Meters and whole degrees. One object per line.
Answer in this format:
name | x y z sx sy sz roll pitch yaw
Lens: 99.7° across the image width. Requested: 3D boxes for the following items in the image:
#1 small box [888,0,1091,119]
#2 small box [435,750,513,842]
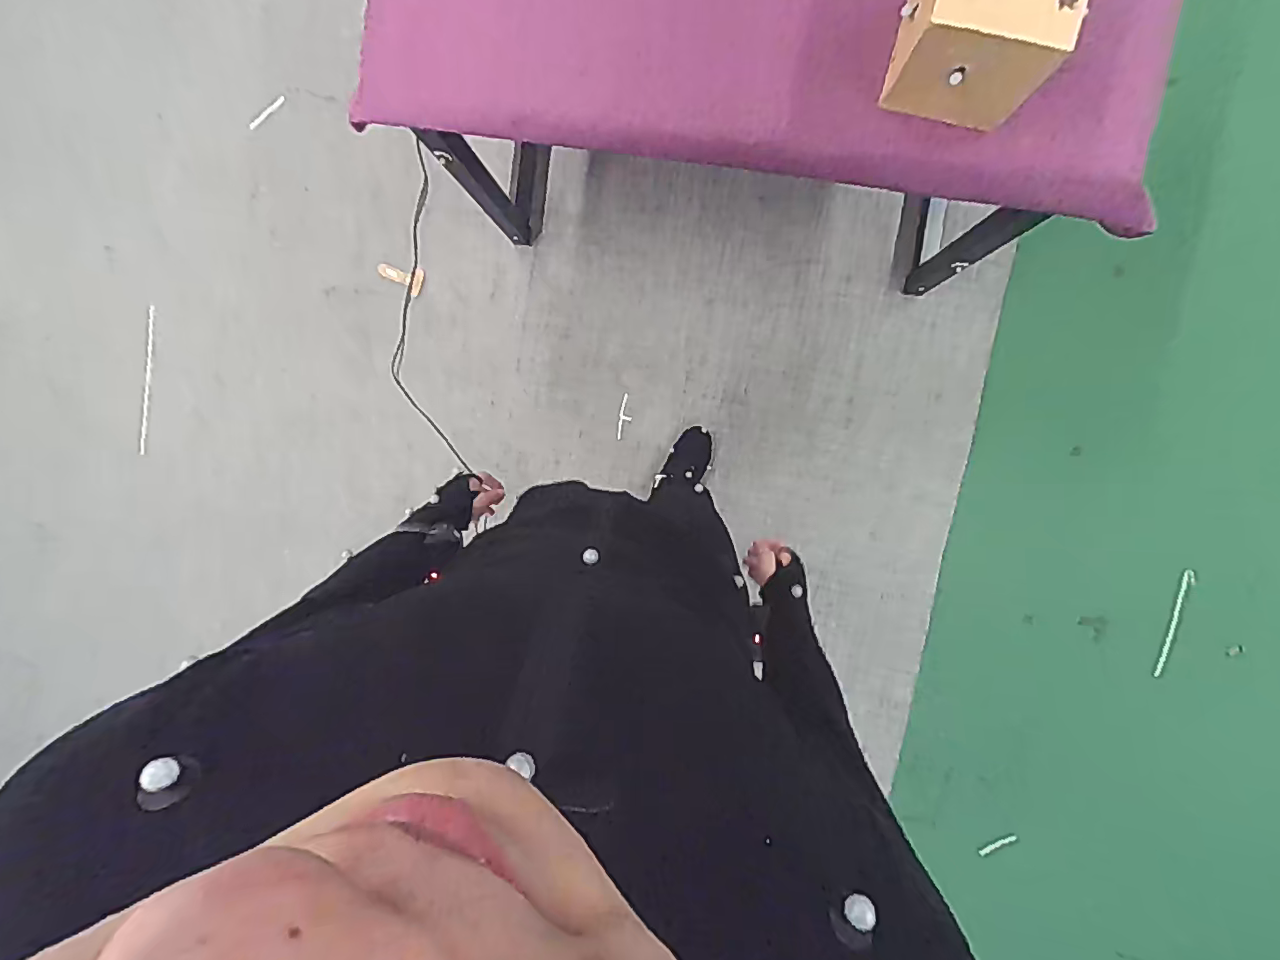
small box | 0.455 -0.614 0.708 0.179 0.176 0.168 15 95 4
small box | -0.503 0.961 1.661 0.179 0.176 0.168 10 96 4
